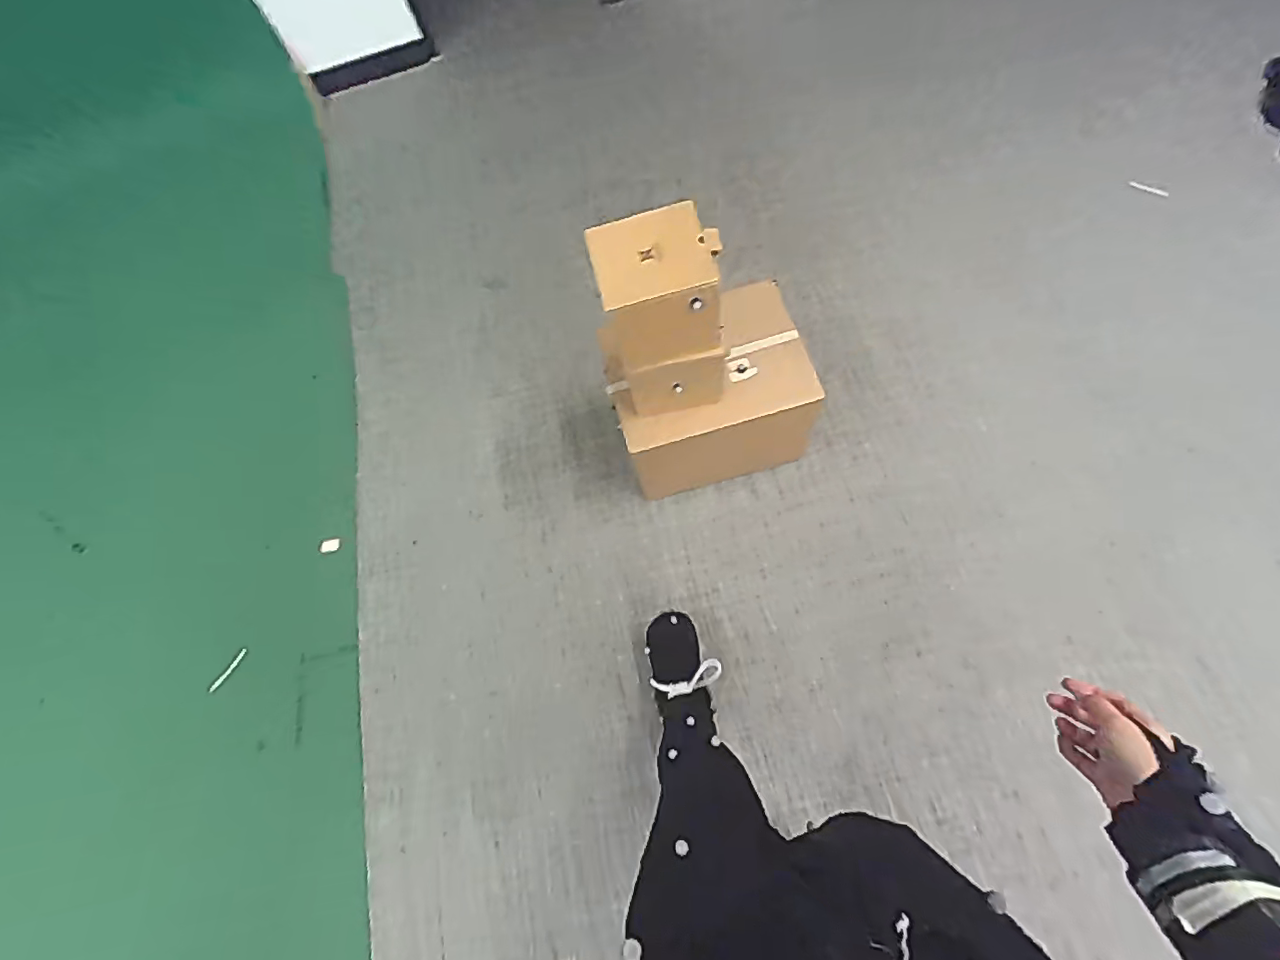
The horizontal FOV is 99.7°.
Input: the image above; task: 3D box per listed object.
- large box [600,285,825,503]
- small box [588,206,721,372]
[{"bbox_3d":[0.155,-0.181,1.259,0.408,0.320,0.320,-16,69,1],"label":"large box"},{"bbox_3d":[0.030,-0.301,0.883,0.179,0.176,0.168,-15,68,2],"label":"small box"}]
